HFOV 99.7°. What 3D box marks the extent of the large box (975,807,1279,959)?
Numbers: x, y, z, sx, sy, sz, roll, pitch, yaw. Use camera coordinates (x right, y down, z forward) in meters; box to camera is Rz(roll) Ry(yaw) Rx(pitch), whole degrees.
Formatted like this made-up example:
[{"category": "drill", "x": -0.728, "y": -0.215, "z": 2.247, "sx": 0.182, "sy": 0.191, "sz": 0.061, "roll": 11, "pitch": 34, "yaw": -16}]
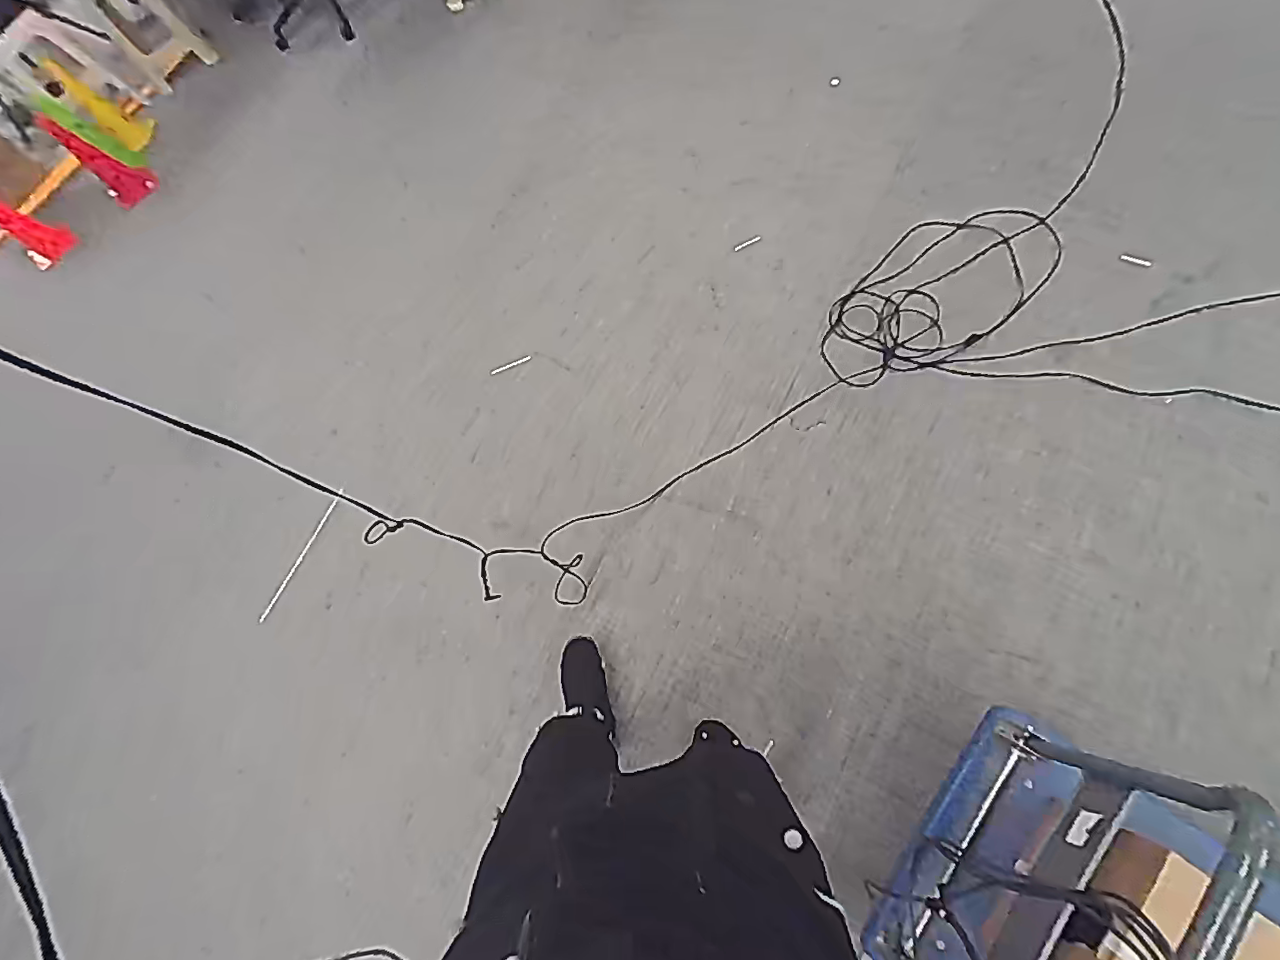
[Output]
[{"category": "large box", "x": 0.839, "y": 0.810, "z": 0.833, "sx": 0.408, "sy": 0.320, "sz": 0.320, "roll": 36, "pitch": 82, "yaw": 19}]
